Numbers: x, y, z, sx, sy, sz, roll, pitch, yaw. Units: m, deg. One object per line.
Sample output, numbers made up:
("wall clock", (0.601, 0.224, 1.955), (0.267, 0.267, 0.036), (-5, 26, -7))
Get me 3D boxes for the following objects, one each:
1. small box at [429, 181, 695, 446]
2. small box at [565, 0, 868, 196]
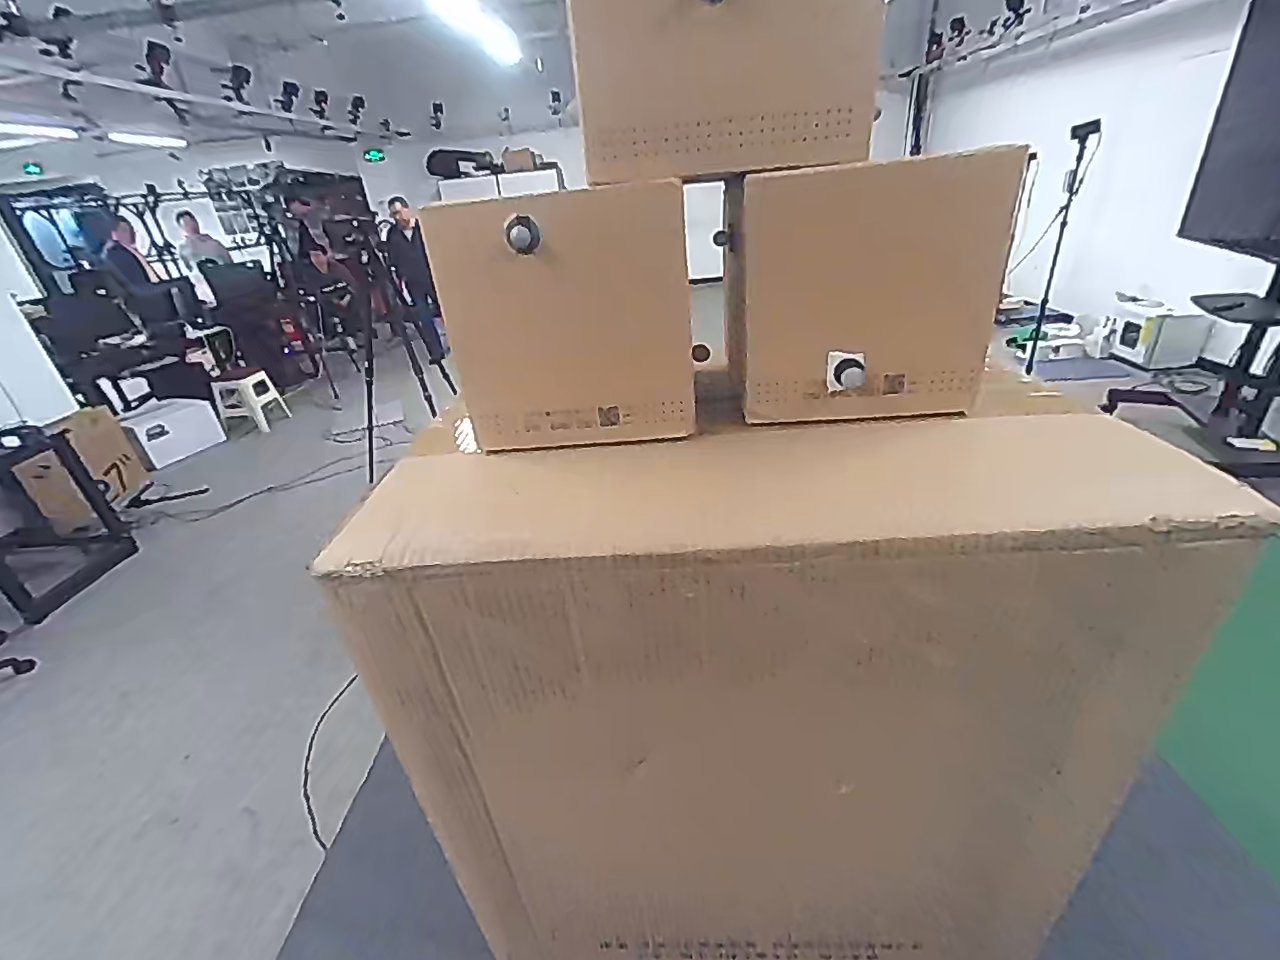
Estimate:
("small box", (-0.044, -0.138, 0.446), (0.168, 0.176, 0.179), (-5, 26, 5))
("small box", (0.048, -0.296, 0.378), (0.179, 0.176, 0.168), (-4, 26, 3))
